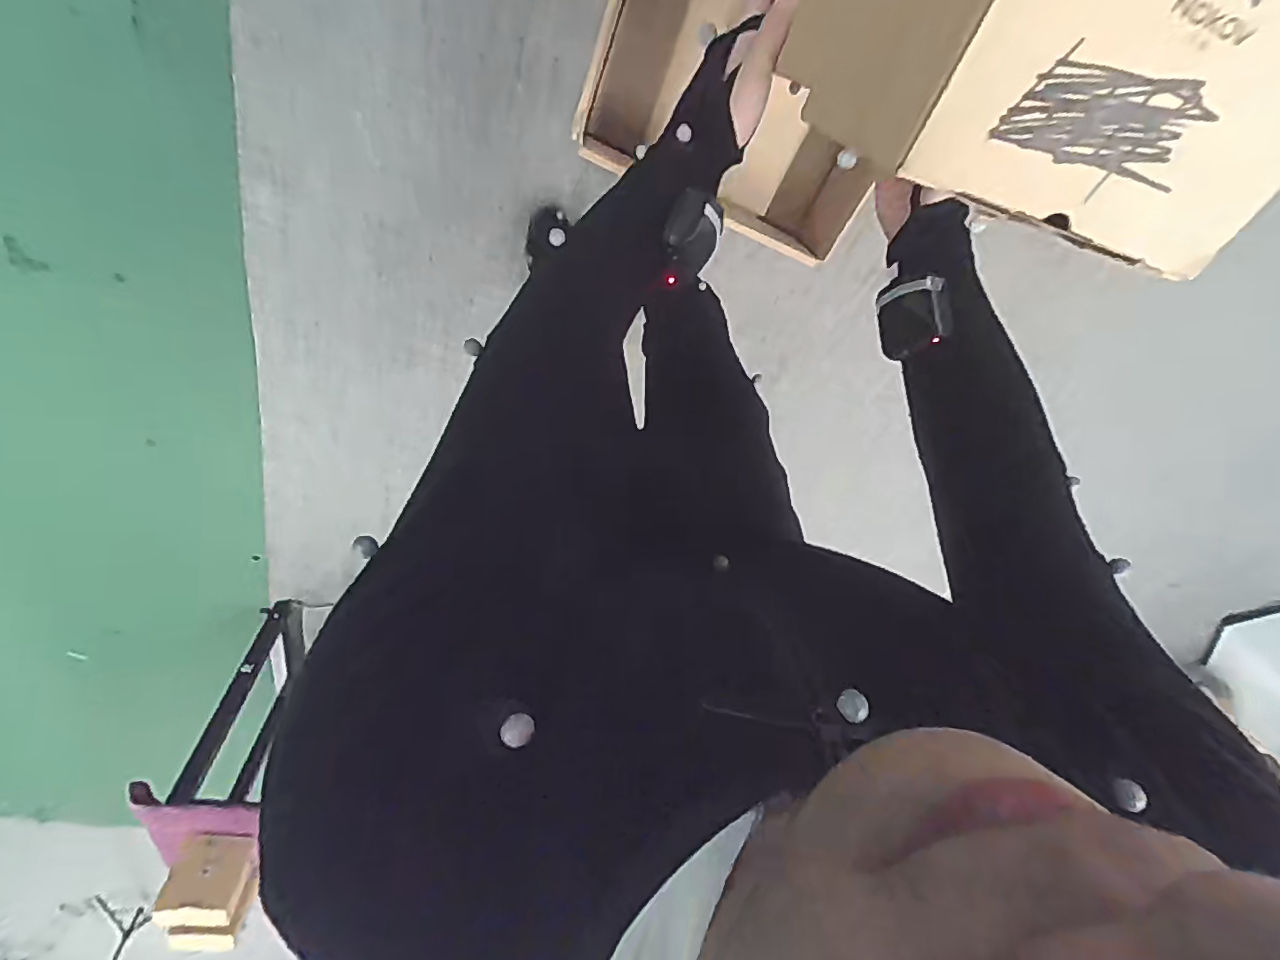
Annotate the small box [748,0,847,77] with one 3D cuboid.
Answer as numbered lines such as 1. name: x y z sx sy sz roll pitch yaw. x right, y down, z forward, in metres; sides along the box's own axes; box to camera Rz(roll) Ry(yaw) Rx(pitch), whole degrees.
1. small box: 0.211 -0.464 0.479 0.168 0.176 0.179 13 130 -13

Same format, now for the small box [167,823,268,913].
1. small box: -1.150 1.064 1.483 0.168 0.176 0.179 17 128 -18

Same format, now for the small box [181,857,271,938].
1. small box: -1.250 1.265 1.645 0.168 0.176 0.179 17 126 -18

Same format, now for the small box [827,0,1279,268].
1. small box: 0.207 -0.232 0.246 0.168 0.176 0.179 12 129 -12
